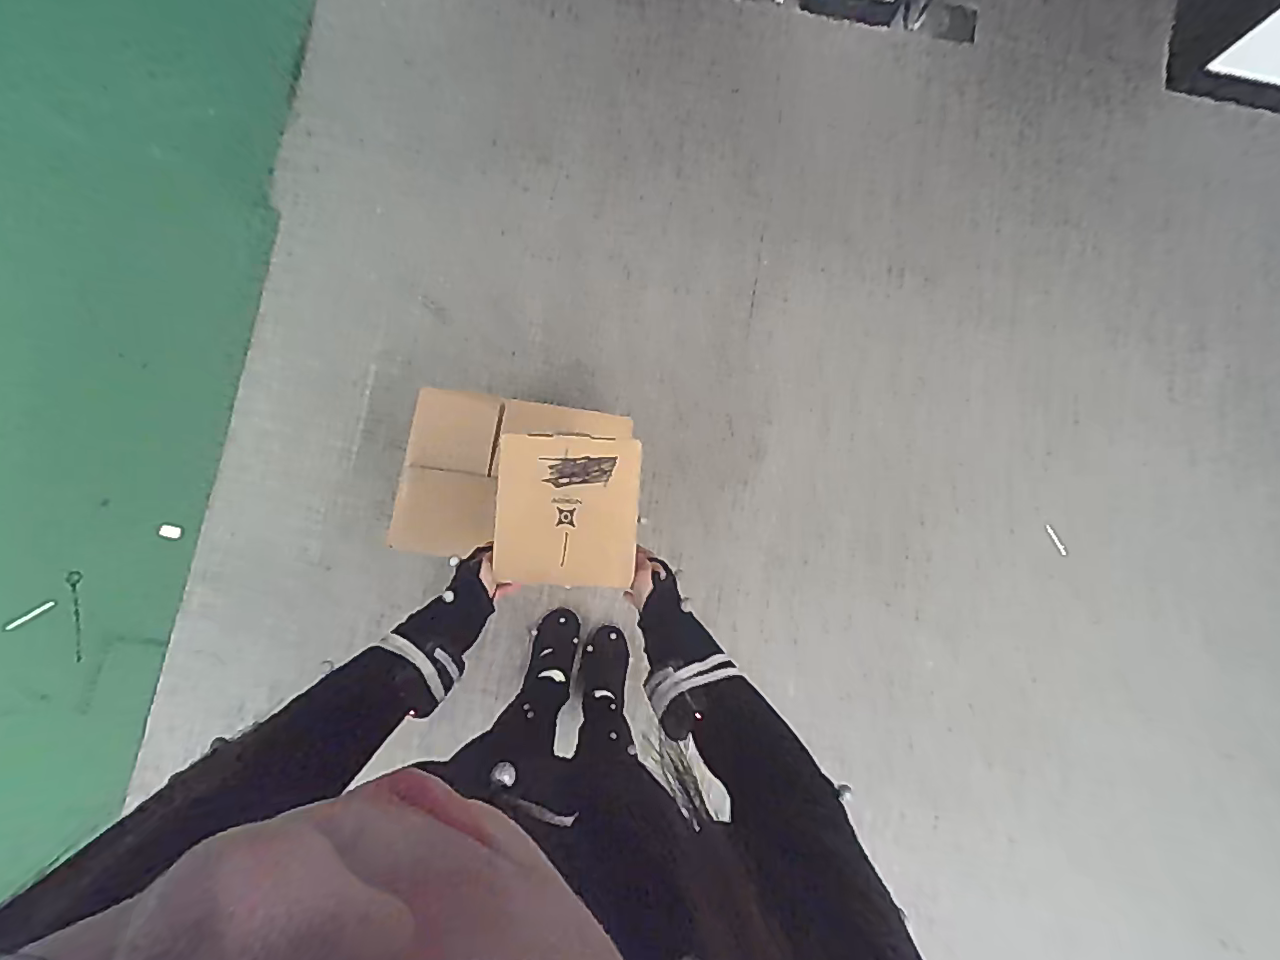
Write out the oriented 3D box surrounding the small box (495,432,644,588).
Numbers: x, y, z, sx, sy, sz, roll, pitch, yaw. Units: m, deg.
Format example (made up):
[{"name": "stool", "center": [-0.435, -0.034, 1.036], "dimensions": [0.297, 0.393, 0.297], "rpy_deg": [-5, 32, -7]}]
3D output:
[{"name": "small box", "center": [-0.086, 0.039, 0.716], "dimensions": [0.168, 0.176, 0.179], "rpy_deg": [4, 88, -1]}]
